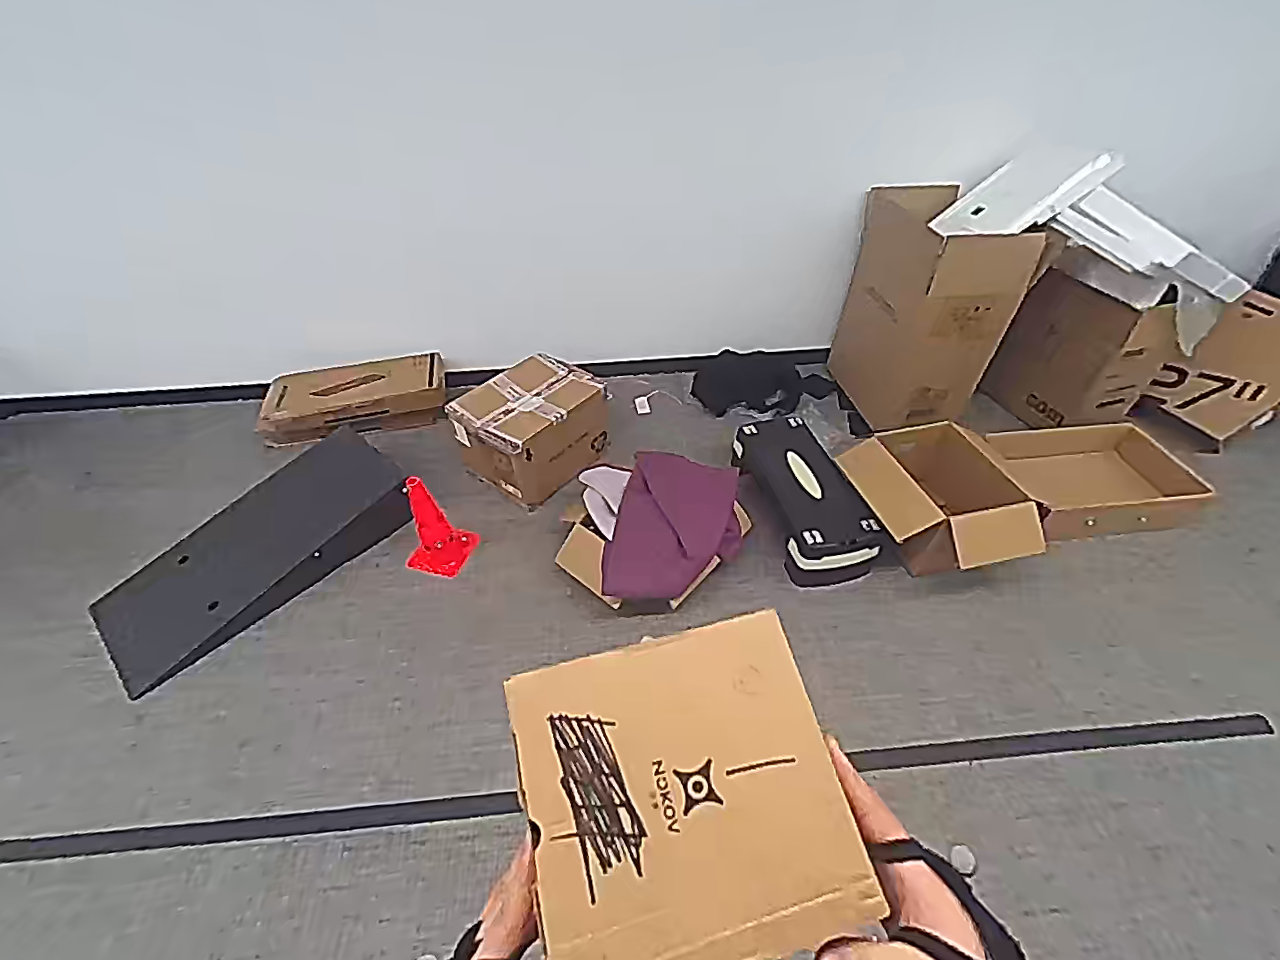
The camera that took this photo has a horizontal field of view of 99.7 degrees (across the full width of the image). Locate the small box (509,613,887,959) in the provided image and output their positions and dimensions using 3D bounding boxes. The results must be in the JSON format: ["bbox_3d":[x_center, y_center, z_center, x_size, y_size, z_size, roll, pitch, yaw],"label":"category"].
[{"bbox_3d":[0.022,0.208,0.368,0.179,0.176,0.168,-12,64,-9],"label":"small box"}]
